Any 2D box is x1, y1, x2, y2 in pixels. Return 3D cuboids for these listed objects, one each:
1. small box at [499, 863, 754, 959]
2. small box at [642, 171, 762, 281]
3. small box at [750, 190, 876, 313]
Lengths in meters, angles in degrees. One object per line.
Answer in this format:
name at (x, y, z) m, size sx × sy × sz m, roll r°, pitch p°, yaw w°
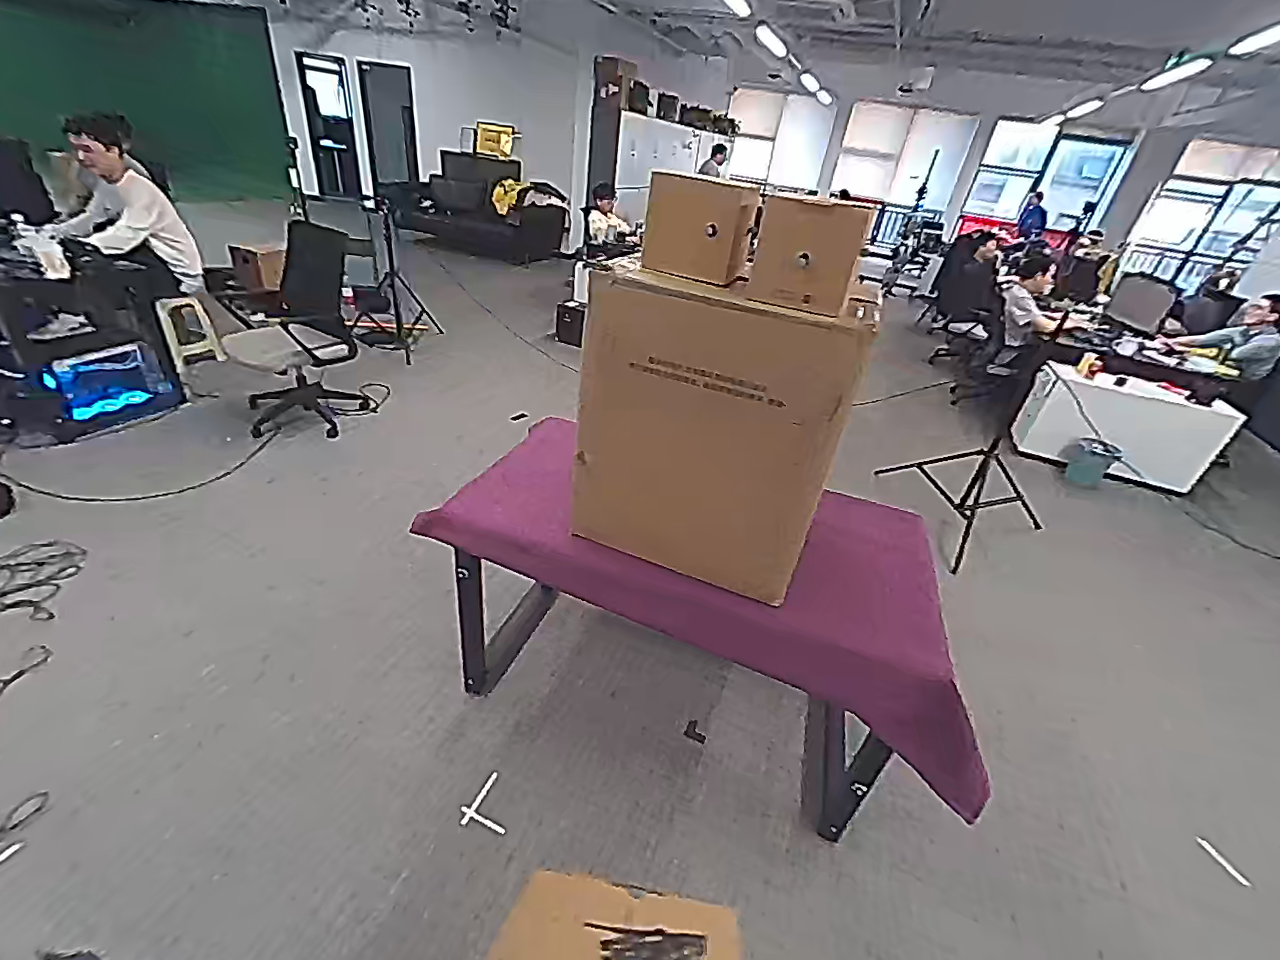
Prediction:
small box at (-0.024, 0.413, 0.370) m, size 0.168 × 0.176 × 0.179 m, roll 19°, pitch 29°, yaw -8°
small box at (0.119, -0.491, 1.049) m, size 0.179 × 0.176 × 0.168 m, roll 17°, pitch 32°, yaw 15°
small box at (0.301, -0.402, 0.950) m, size 0.168 × 0.176 × 0.179 m, roll 18°, pitch 33°, yaw 16°
